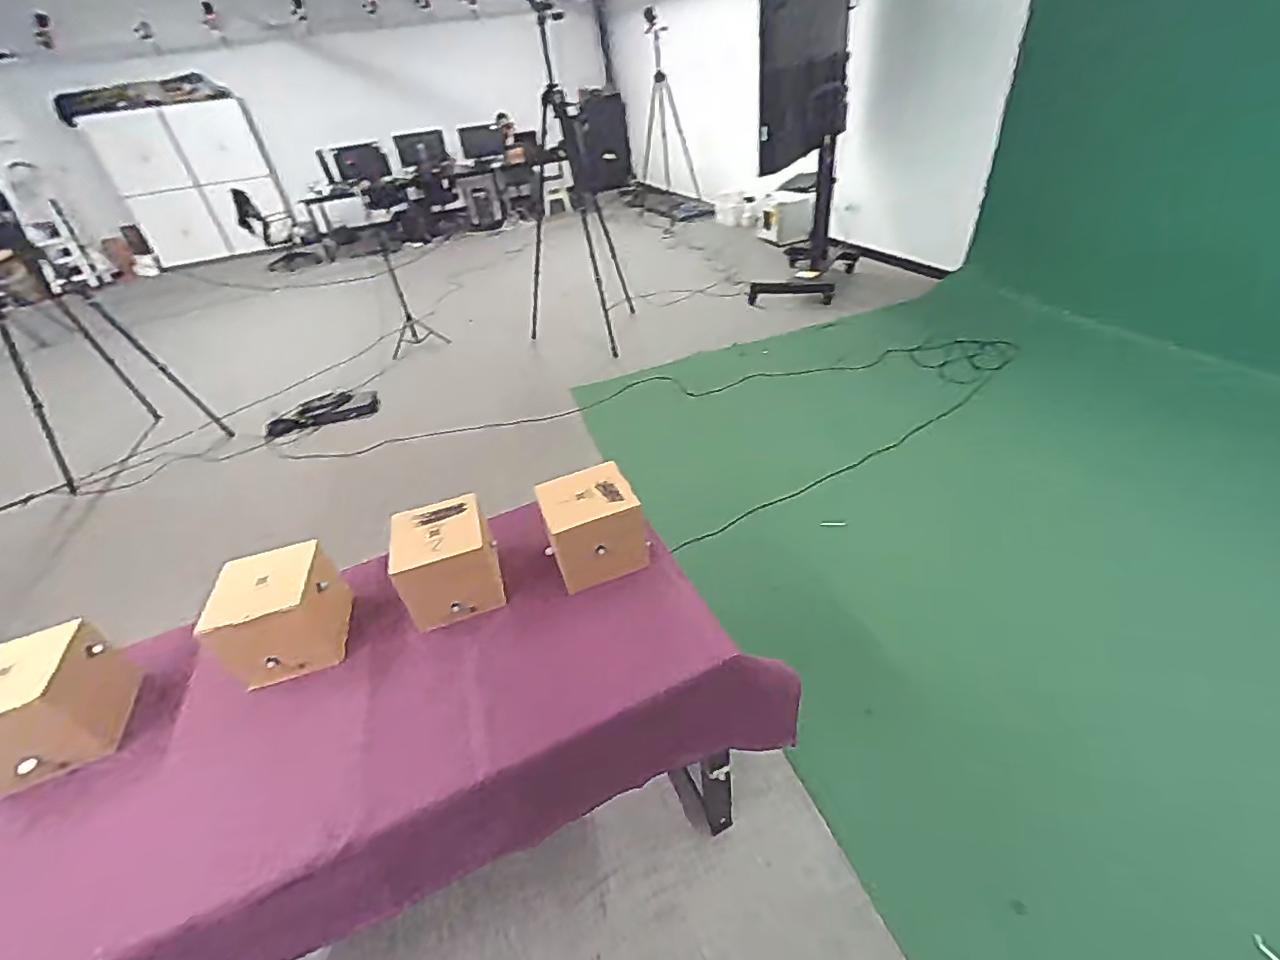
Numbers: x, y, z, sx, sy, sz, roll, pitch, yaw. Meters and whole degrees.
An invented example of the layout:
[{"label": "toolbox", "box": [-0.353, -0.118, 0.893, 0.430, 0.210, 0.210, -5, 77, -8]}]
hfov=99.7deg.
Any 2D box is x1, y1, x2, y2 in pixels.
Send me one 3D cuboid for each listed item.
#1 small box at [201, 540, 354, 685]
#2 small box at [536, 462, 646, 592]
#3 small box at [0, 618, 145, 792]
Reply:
[{"label": "small box", "box": [-0.659, 0.247, 1.013, 0.168, 0.176, 0.179, -15, 38, -9]}, {"label": "small box", "box": [-0.095, 0.095, 1.099, 0.179, 0.176, 0.168, -19, 38, -12]}, {"label": "small box", "box": [-0.988, 0.373, 0.904, 0.168, 0.176, 0.179, -20, 39, -15]}]
